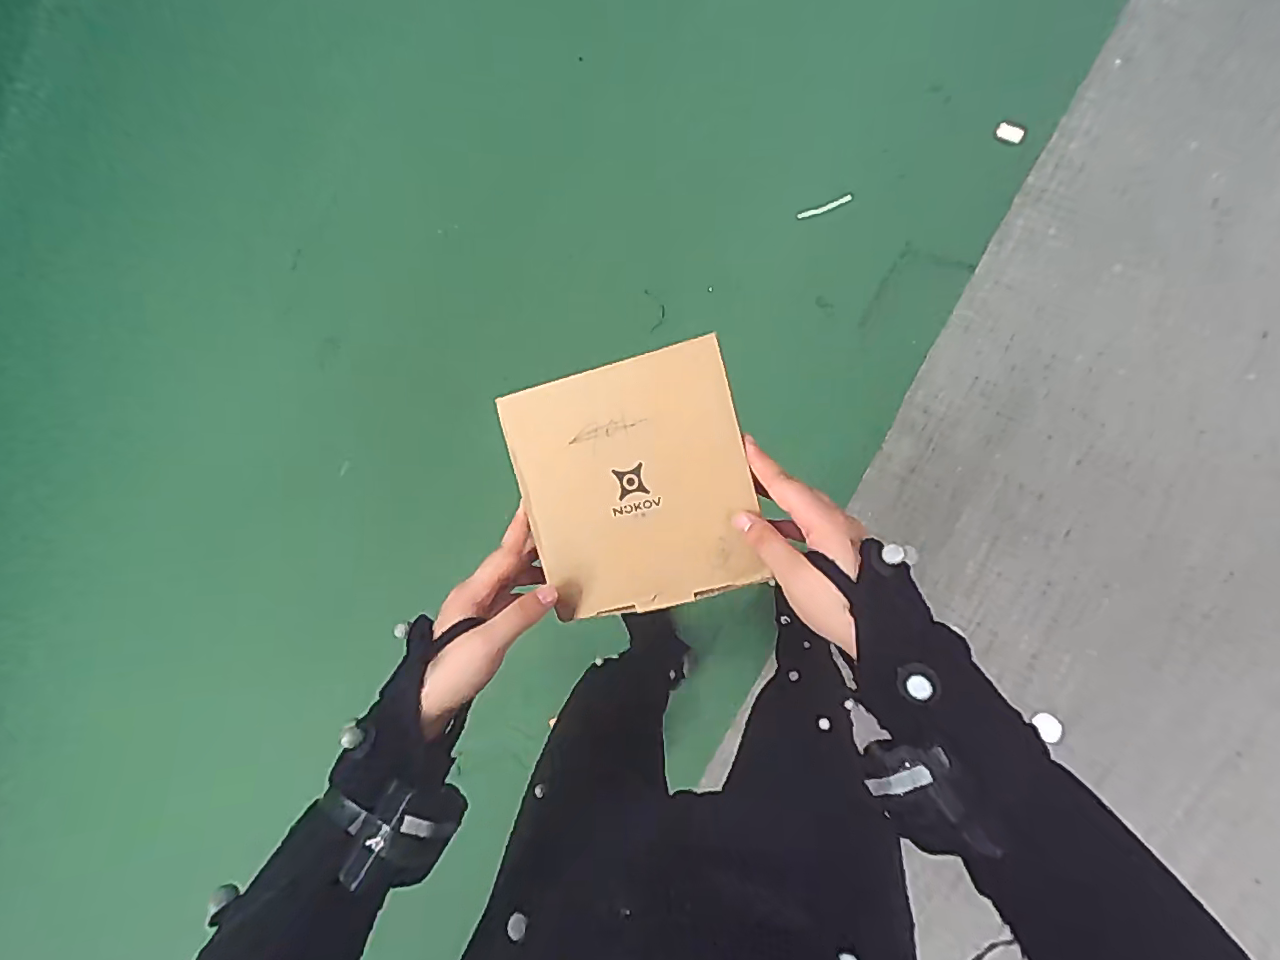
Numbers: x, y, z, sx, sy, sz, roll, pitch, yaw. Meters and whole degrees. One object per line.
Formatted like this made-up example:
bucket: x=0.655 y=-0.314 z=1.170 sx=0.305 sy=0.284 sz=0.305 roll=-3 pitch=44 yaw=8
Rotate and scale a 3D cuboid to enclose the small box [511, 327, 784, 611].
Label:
small box: x=0.017 y=-0.012 z=0.459 sx=0.168 sy=0.176 sz=0.179 roll=-14 pitch=94 yaw=10
